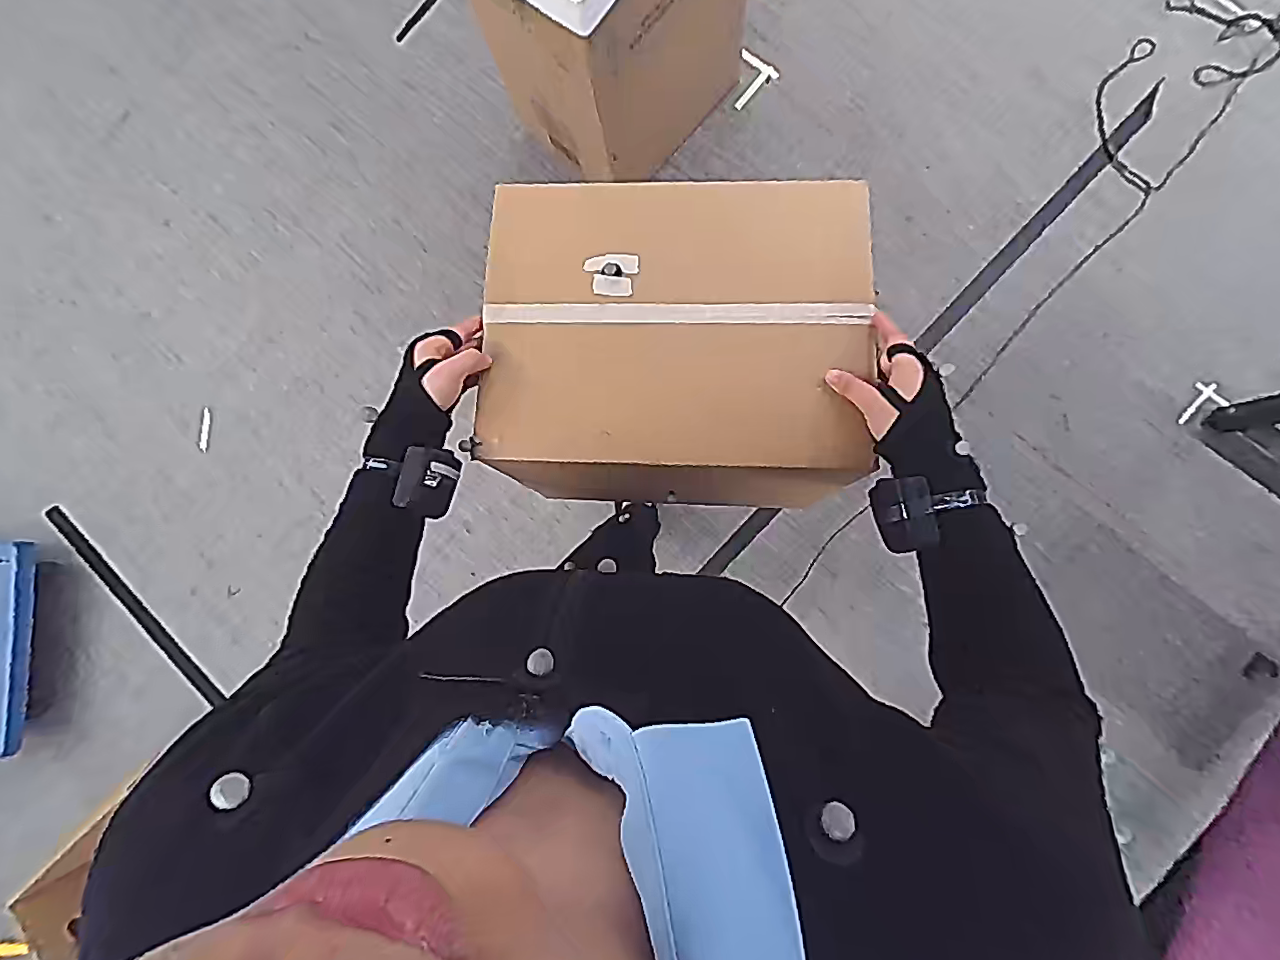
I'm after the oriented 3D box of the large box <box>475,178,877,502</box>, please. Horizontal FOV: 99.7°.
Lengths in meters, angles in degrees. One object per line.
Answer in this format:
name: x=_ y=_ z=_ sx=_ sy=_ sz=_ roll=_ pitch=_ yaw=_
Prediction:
large box: x=0.047 y=-0.141 z=0.703 sx=0.408 sy=0.320 sz=0.320 roll=1 pitch=79 yaw=5
